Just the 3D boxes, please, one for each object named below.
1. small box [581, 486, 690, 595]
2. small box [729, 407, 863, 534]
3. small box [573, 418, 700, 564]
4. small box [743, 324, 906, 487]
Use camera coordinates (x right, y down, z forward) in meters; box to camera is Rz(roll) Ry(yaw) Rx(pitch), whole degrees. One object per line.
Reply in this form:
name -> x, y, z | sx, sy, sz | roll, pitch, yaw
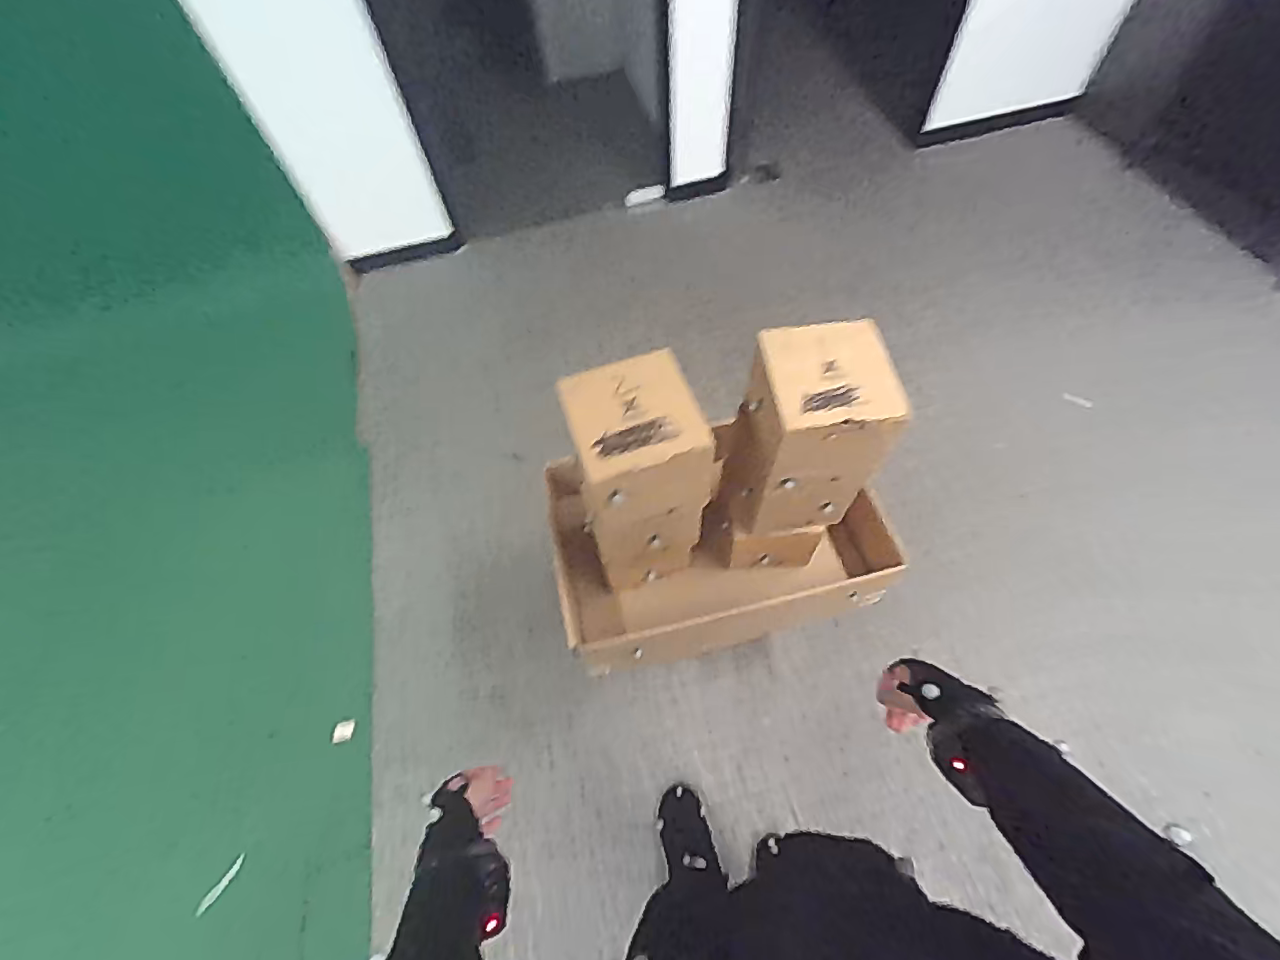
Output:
small box -> -0.009, 0.102, 1.067 | 0.168, 0.176, 0.179 | -17, 60, -6
small box -> 0.257, -0.018, 0.936 | 0.168, 0.176, 0.179 | -8, 59, -2
small box -> -0.004, 0.028, 0.921 | 0.168, 0.176, 0.179 | -16, 60, -7
small box -> 0.254, -0.100, 0.794 | 0.168, 0.176, 0.179 | -5, 59, -1
